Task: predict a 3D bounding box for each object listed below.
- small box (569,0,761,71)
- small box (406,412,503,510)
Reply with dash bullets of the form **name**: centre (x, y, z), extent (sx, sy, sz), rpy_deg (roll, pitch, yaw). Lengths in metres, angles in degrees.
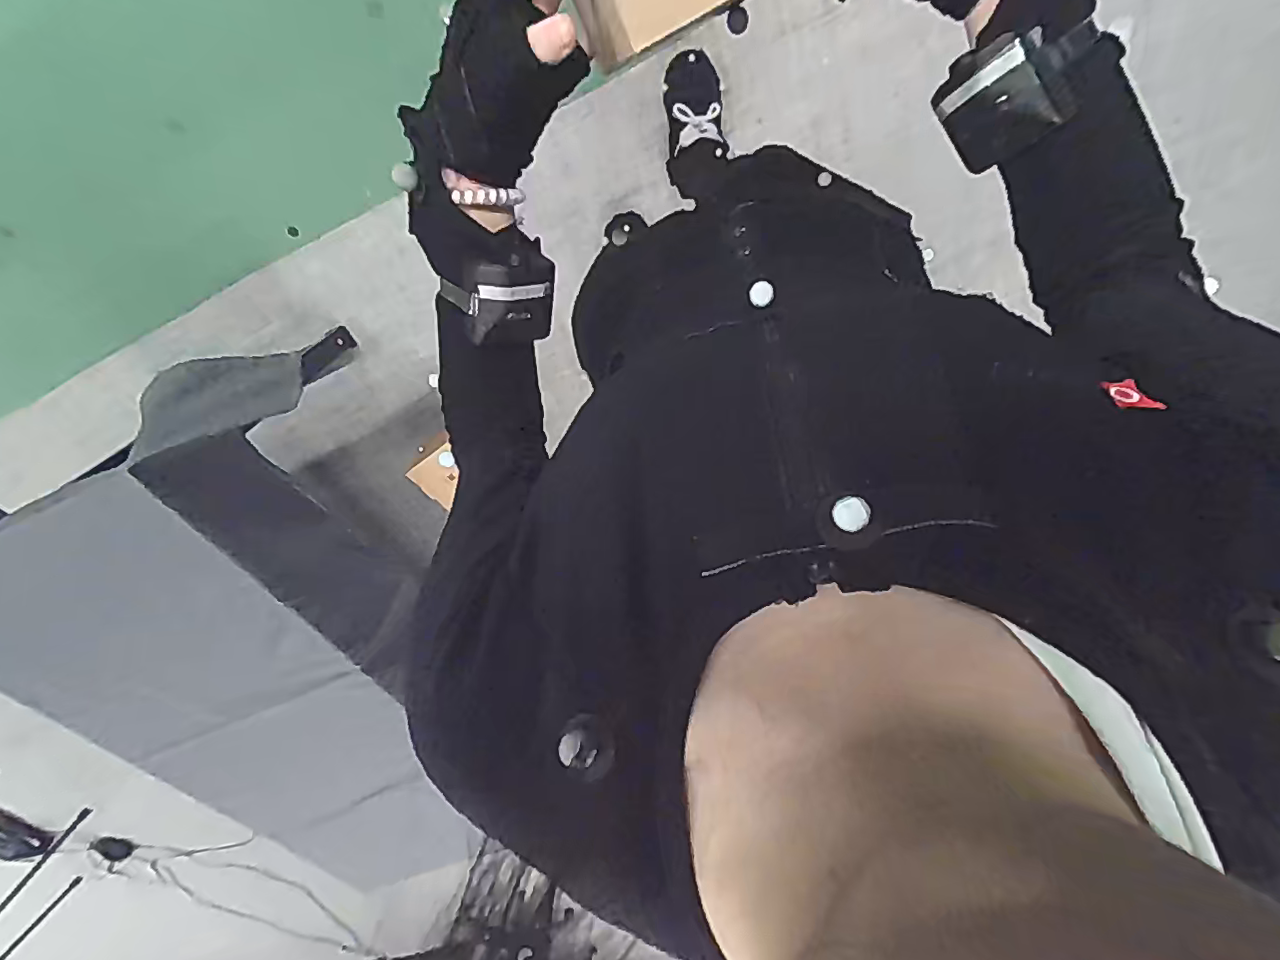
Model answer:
- **small box**: centre (0.023, -0.331, 0.257), extent (0.168, 0.176, 0.179), rpy_deg (-25, 125, 7)
- **small box**: centre (-0.505, -0.056, 1.501), extent (0.179, 0.176, 0.168), rpy_deg (-32, 120, 18)
